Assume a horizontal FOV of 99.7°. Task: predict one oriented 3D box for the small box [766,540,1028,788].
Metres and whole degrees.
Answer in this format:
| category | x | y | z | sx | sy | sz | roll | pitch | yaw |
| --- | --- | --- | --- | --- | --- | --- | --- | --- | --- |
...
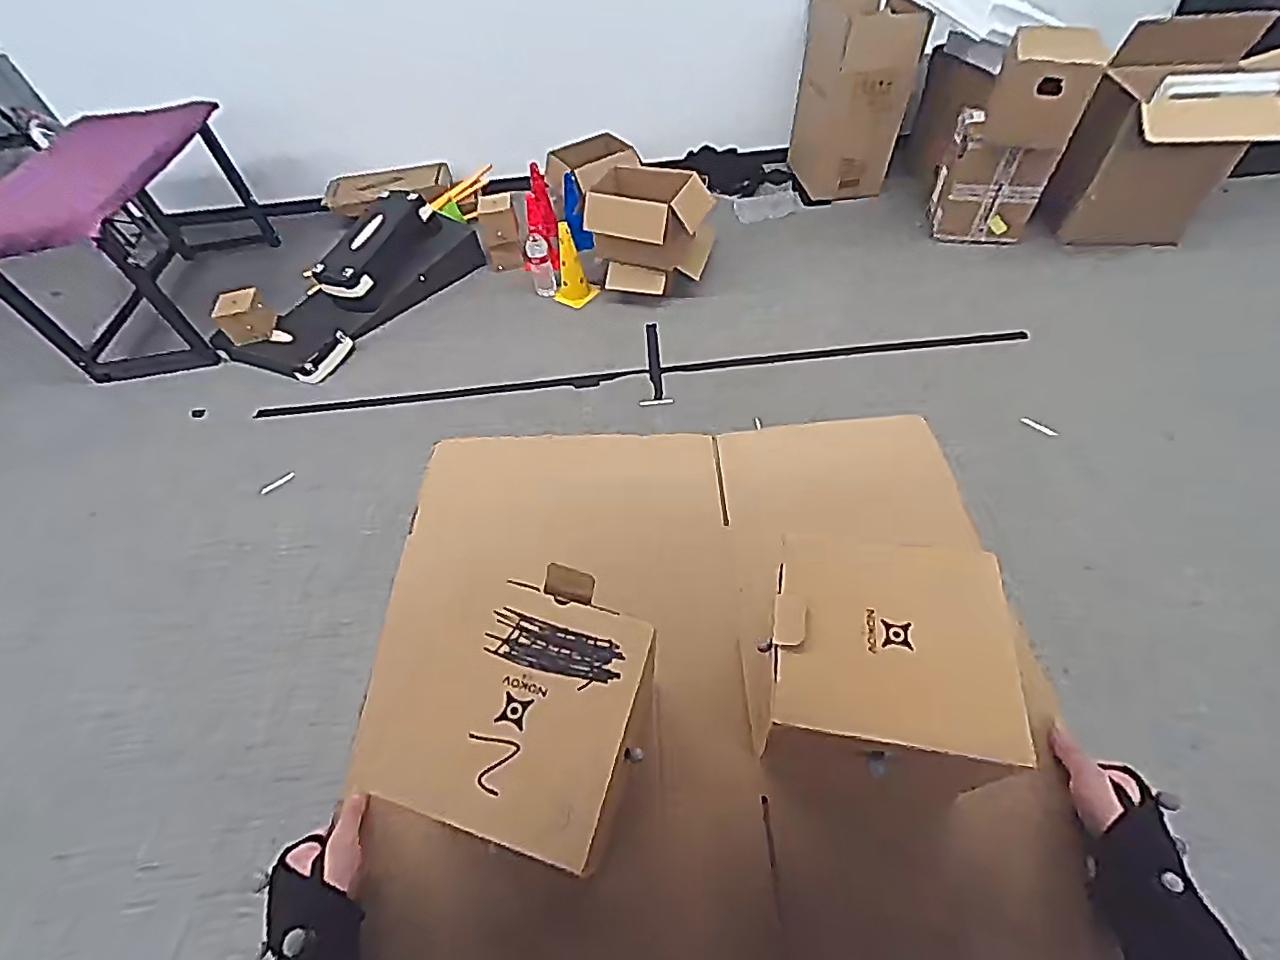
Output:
| category | x | y | z | sx | sy | sz | roll | pitch | yaw |
| --- | --- | --- | --- | --- | --- | --- | --- | --- | --- |
| small box | 0.215 | 0.174 | 0.503 | 0.179 | 0.176 | 0.168 | 4 | 55 | 14 |
